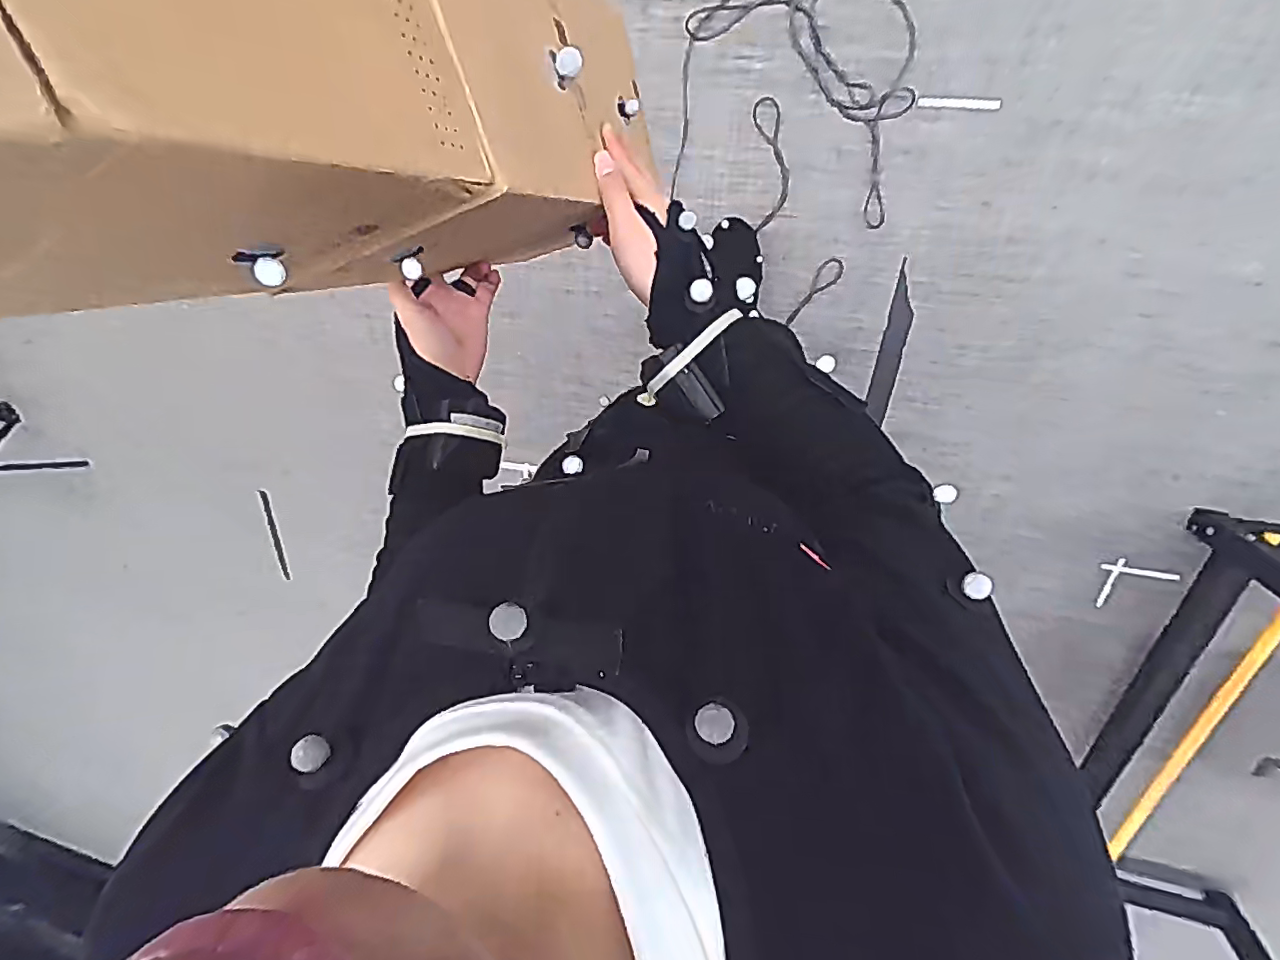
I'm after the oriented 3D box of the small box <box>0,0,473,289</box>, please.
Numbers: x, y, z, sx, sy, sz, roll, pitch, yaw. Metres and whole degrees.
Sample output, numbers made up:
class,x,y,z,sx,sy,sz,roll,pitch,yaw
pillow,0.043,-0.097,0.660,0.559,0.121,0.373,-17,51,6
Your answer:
class,x,y,z,sx,sy,sz,roll,pitch,yaw
small box,-0.190,-0.170,0.176,0.168,0.176,0.179,-11,110,23

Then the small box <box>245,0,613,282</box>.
class,x,y,z,sx,sy,sz,roll,pitch,yaw
small box,-0.139,-0.227,0.320,0.179,0.176,0.168,-10,110,21
